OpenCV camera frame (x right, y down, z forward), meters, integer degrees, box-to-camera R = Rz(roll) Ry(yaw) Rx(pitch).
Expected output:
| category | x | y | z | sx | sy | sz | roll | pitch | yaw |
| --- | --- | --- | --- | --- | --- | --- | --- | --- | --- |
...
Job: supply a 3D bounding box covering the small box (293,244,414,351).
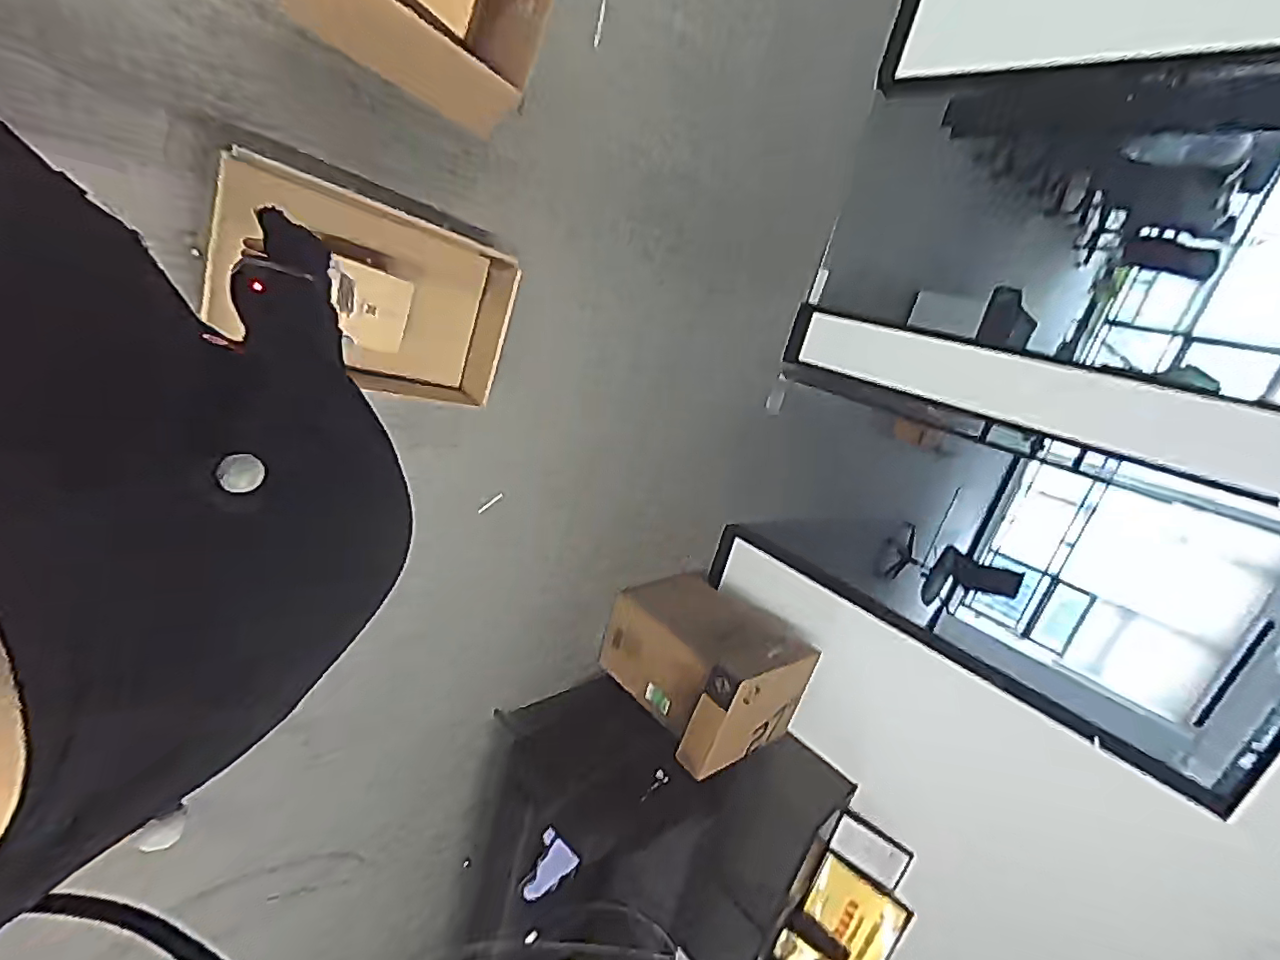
| category | x | y | z | sx | sy | sz | roll | pitch | yaw |
| --- | --- | --- | --- | --- | --- | --- | --- | --- | --- |
| small box | -0.636 | -0.404 | 1.192 | 0.179 | 0.176 | 0.168 | 7 | 109 | -50 |
